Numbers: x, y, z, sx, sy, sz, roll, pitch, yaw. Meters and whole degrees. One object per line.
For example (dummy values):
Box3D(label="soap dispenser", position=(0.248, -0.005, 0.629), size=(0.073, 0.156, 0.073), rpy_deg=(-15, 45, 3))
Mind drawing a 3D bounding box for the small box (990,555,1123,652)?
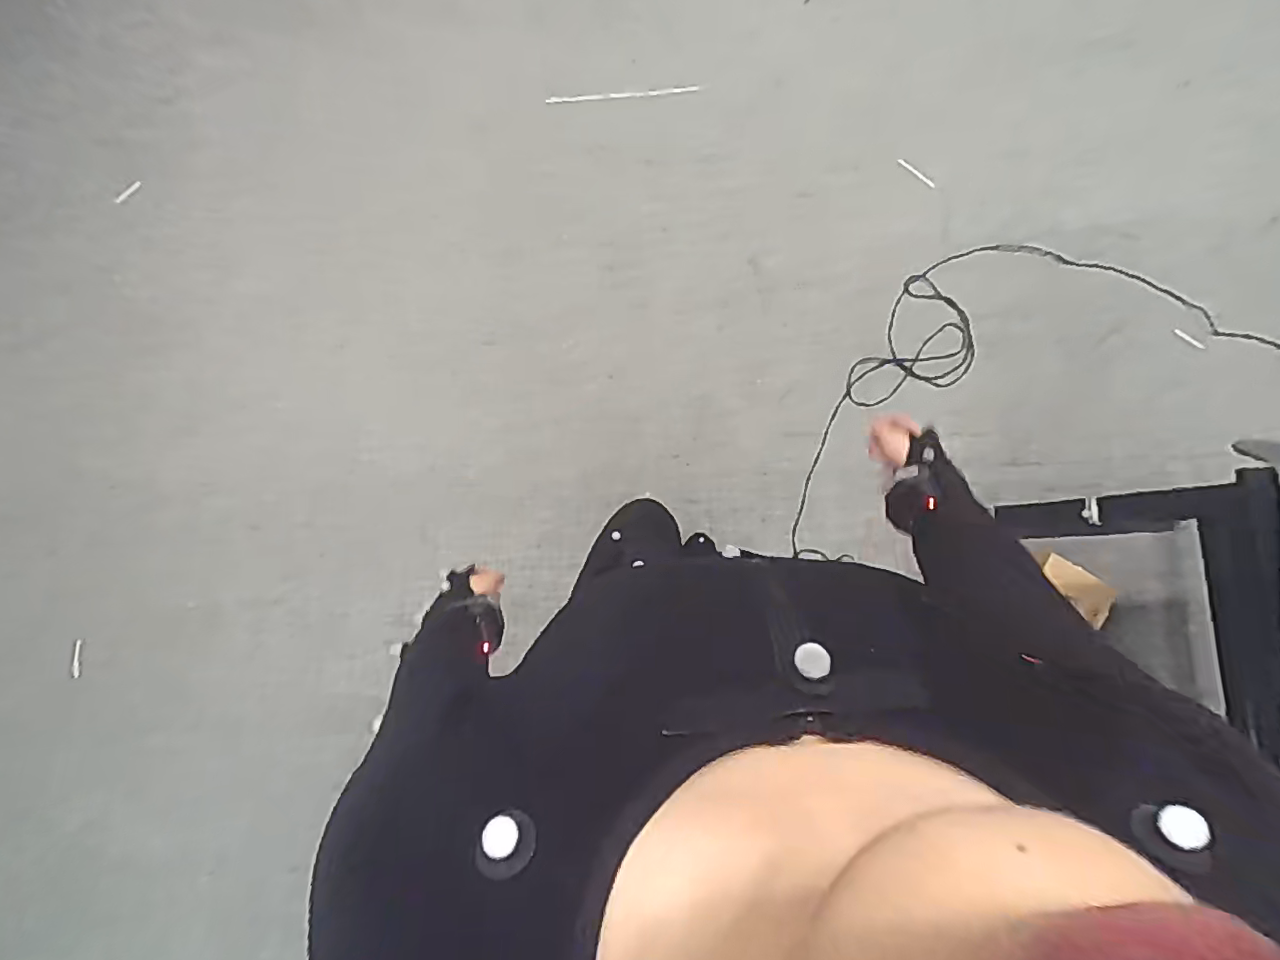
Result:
Box3D(label="small box", position=(1.029, 0.303, 1.355), size=(0.179, 0.176, 0.168), rpy_deg=(30, 85, 5))
